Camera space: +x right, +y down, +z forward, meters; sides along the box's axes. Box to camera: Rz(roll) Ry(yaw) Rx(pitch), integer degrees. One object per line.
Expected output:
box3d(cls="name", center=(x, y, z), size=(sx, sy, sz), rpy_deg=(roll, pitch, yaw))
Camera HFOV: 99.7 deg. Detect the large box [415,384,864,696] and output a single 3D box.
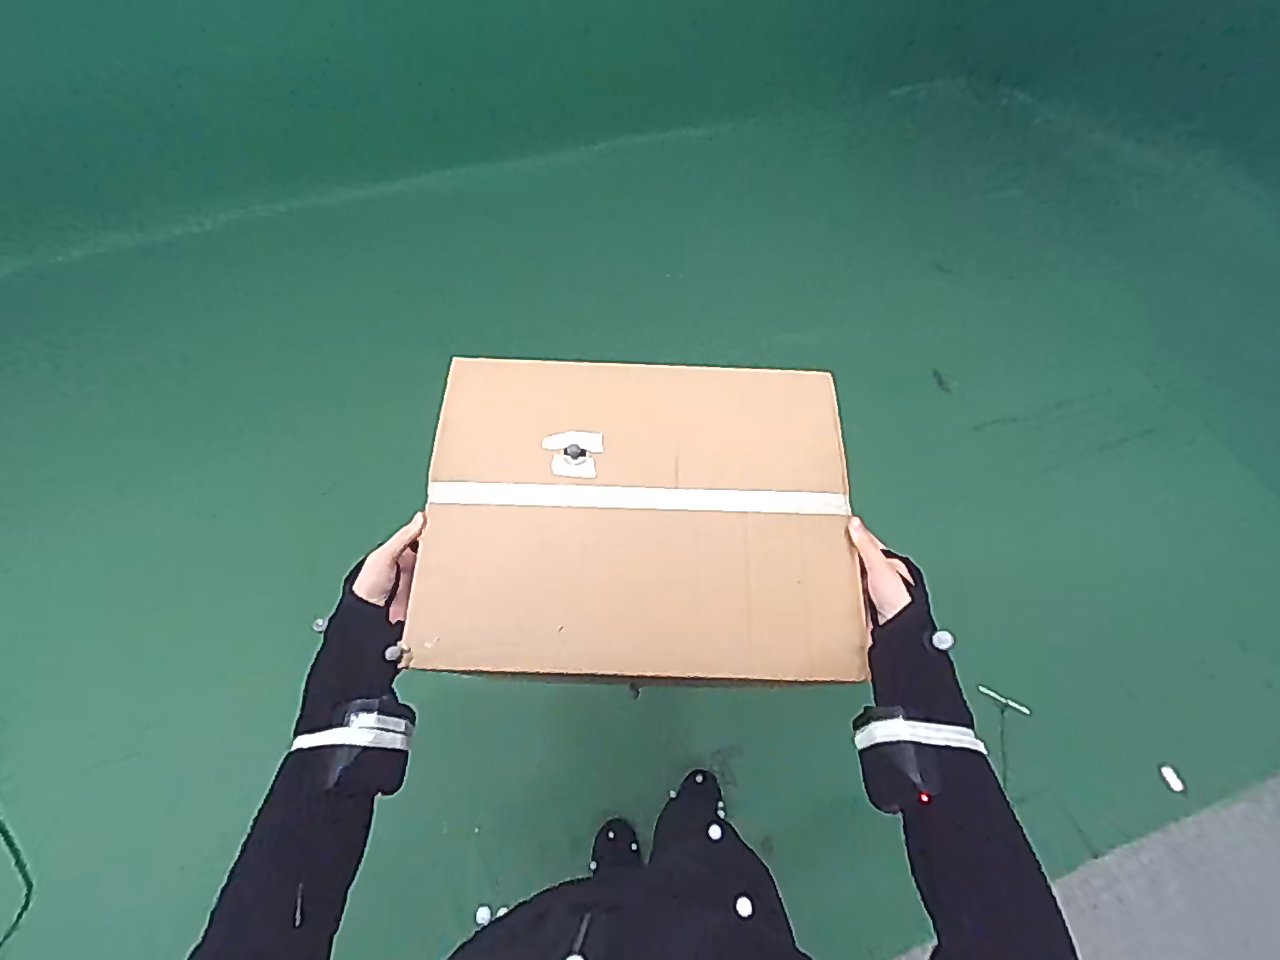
box3d(cls="large box", center=(0.004, 0.097, 0.667), size=(0.408, 0.320, 0.320), rpy_deg=(2, 66, 0))
